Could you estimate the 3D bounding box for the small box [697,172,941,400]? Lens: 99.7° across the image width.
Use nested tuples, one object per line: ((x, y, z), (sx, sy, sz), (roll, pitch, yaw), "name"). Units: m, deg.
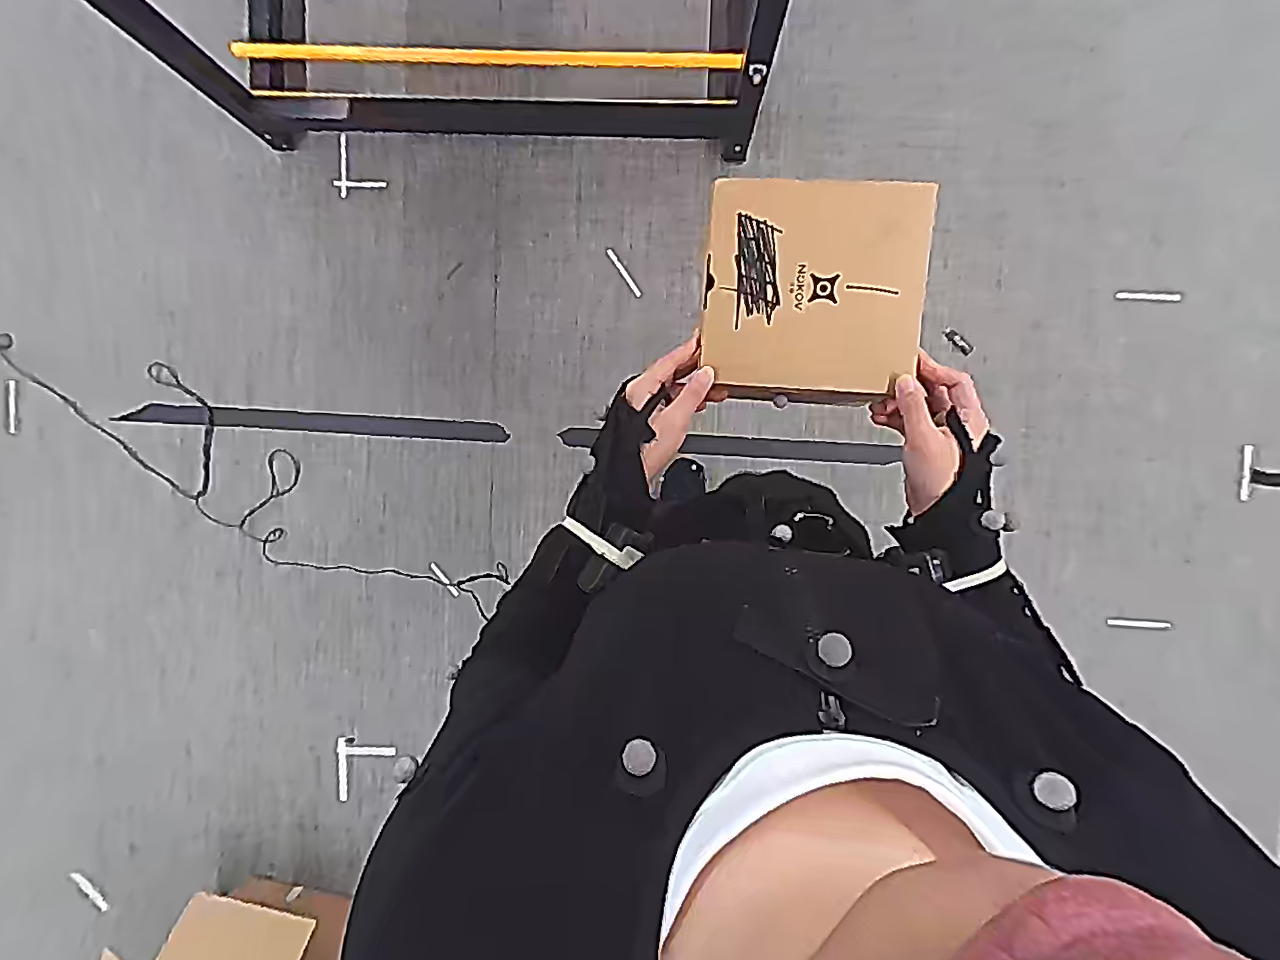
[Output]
((0.150, -0.166, 0.511), (0.179, 0.176, 0.168), (5, 96, 7), "small box")
